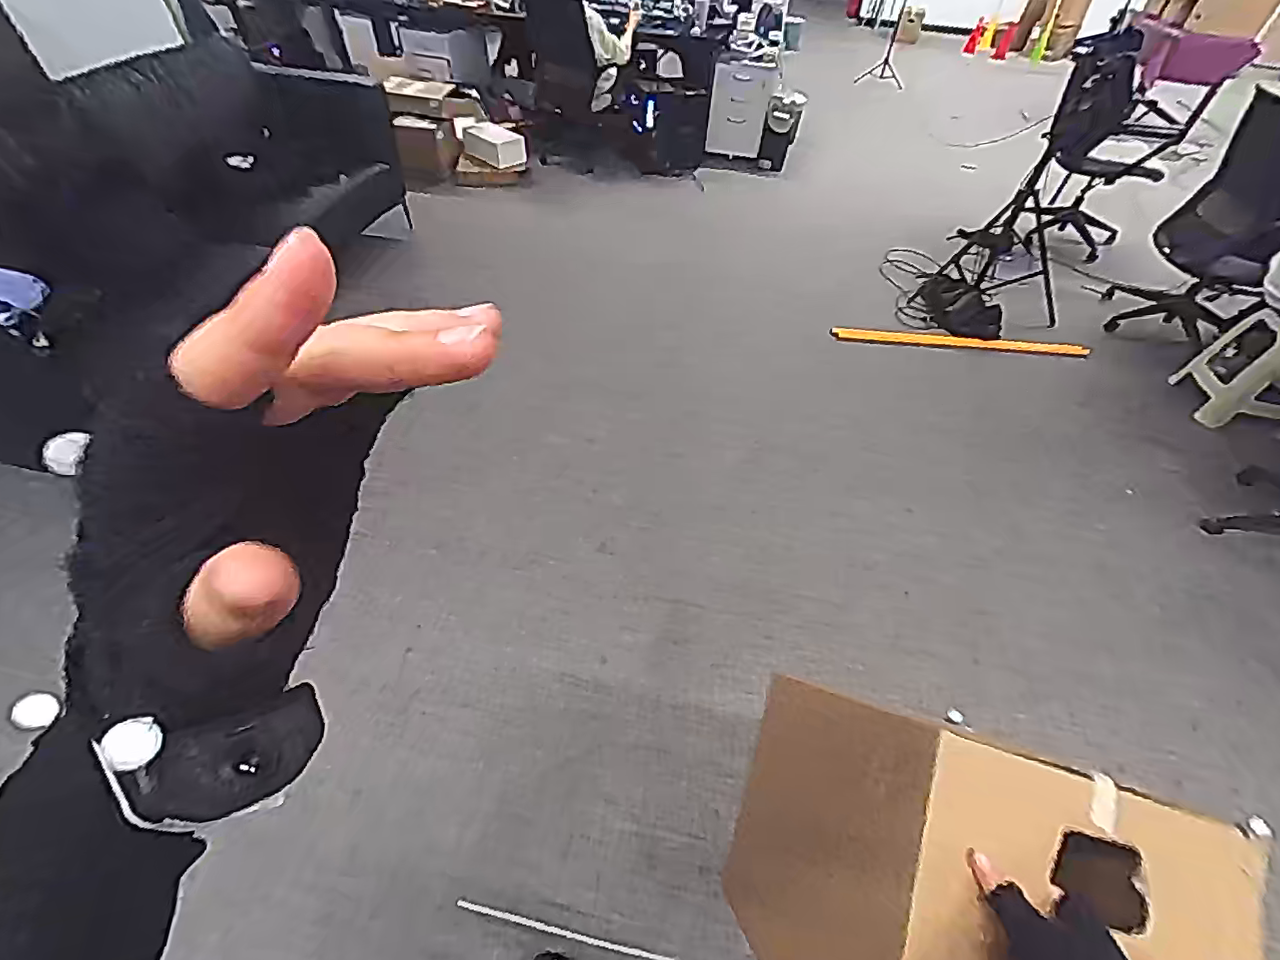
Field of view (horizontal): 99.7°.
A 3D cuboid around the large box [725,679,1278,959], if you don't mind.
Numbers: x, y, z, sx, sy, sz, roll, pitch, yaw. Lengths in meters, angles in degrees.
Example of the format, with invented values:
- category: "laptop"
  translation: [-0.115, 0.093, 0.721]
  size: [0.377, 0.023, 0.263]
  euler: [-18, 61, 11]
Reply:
- category: "large box"
  translation: [0.331, 0.461, 0.616]
  size: [0.320, 0.408, 0.320]
  euler: [21, 77, -1]
